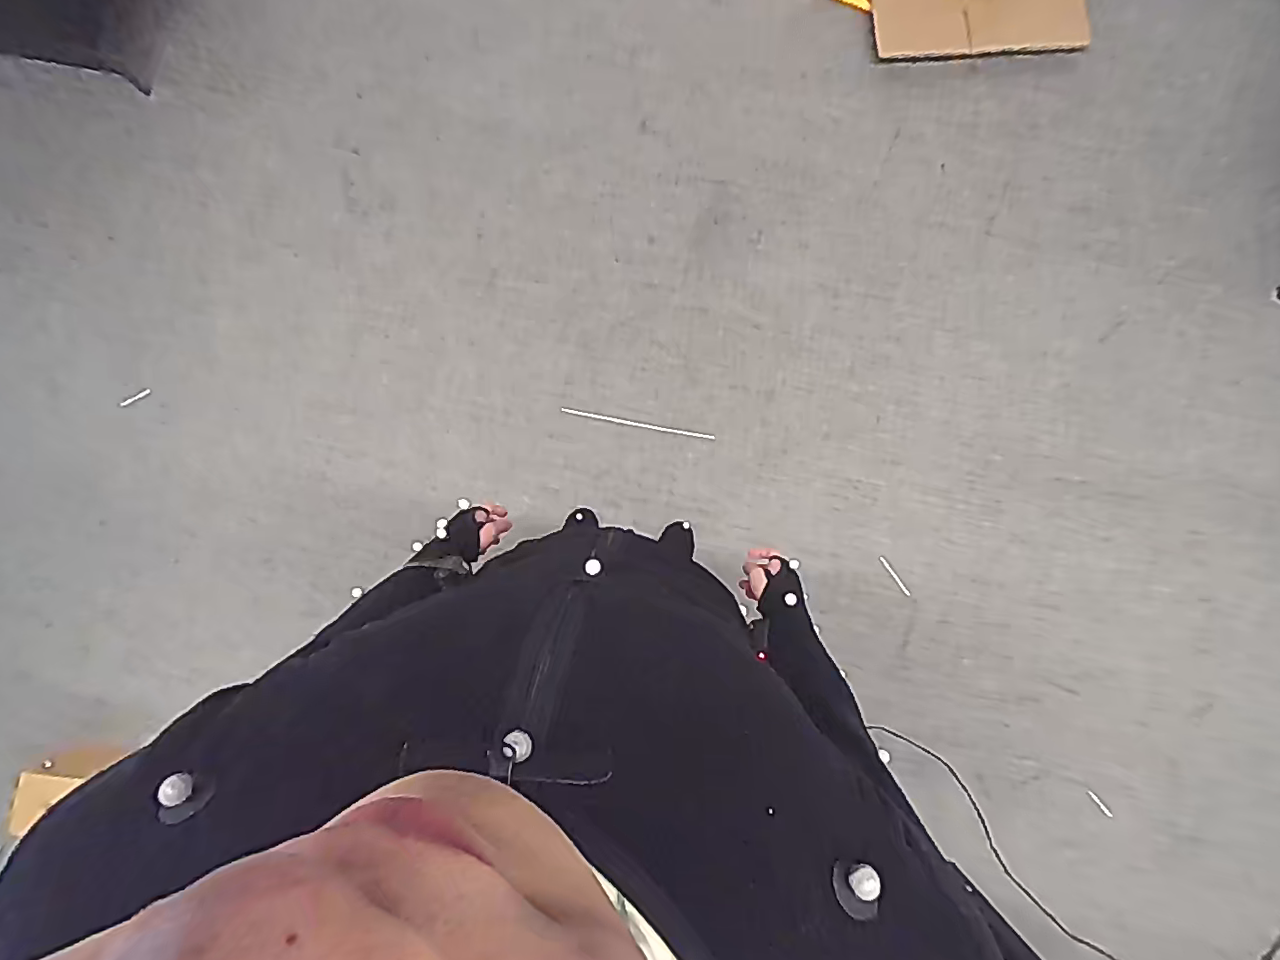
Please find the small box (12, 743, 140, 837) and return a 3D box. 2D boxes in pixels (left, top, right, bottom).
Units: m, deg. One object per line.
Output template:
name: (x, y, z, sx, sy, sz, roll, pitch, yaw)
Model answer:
small box: (-1.569, 0.860, 1.515, 0.179, 0.176, 0.168, 7, 86, 1)
